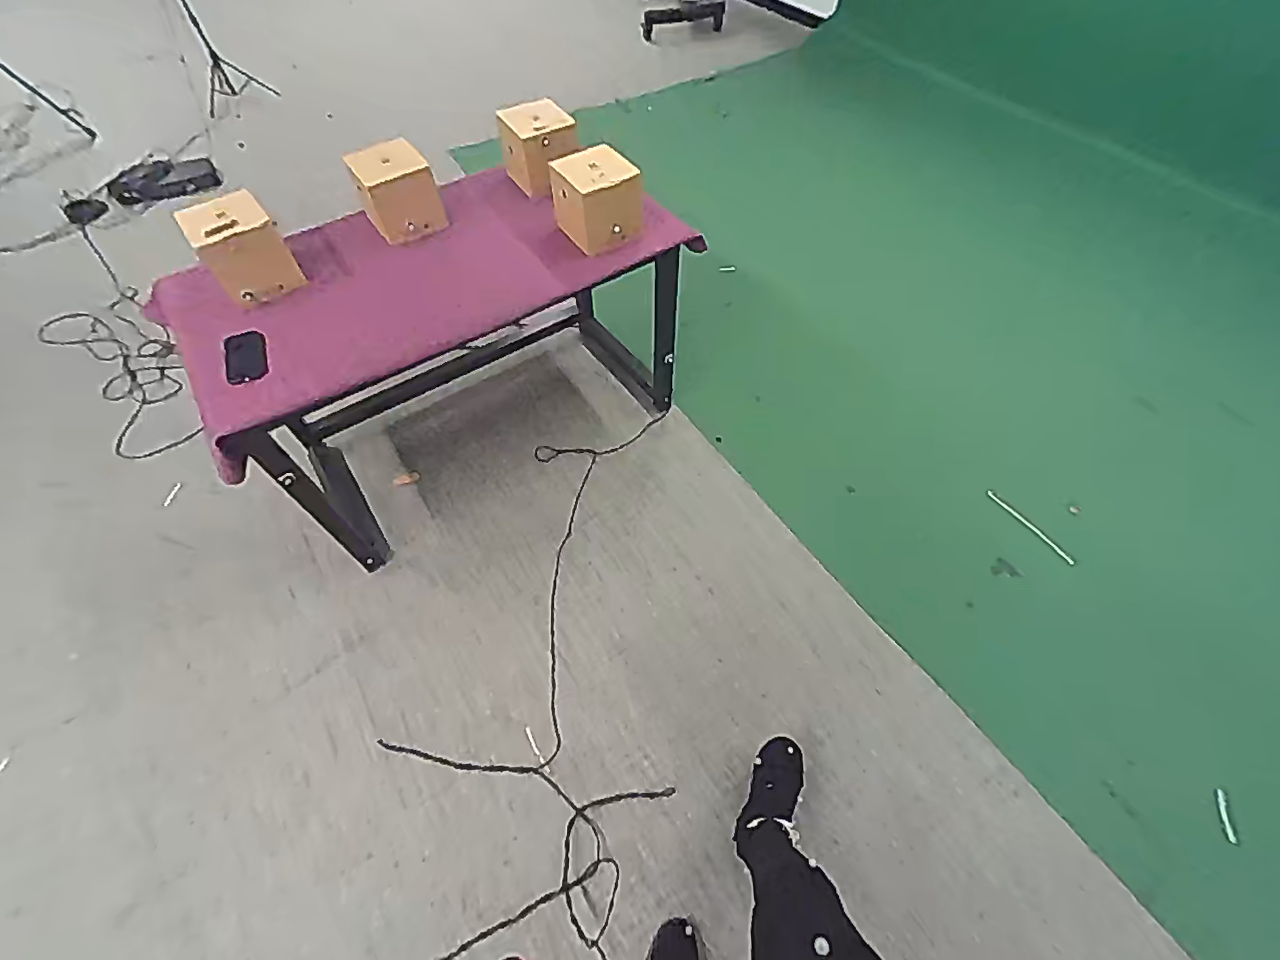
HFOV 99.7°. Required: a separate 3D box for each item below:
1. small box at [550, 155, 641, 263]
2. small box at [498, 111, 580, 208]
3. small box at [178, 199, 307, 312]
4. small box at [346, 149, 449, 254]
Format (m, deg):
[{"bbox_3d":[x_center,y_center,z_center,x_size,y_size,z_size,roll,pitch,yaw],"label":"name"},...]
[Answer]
[{"bbox_3d":[-0.110,-0.690,1.382,0.168,0.176,0.179,-28,60,-16],"label":"small box"},{"bbox_3d":[-0.281,-0.908,1.537,0.168,0.176,0.179,-28,60,-16],"label":"small box"},{"bbox_3d":[-0.933,-0.525,1.282,0.168,0.176,0.179,-33,61,-21],"label":"small box"},{"bbox_3d":[-0.631,-0.728,1.419,0.168,0.176,0.179,-31,62,-18],"label":"small box"}]
